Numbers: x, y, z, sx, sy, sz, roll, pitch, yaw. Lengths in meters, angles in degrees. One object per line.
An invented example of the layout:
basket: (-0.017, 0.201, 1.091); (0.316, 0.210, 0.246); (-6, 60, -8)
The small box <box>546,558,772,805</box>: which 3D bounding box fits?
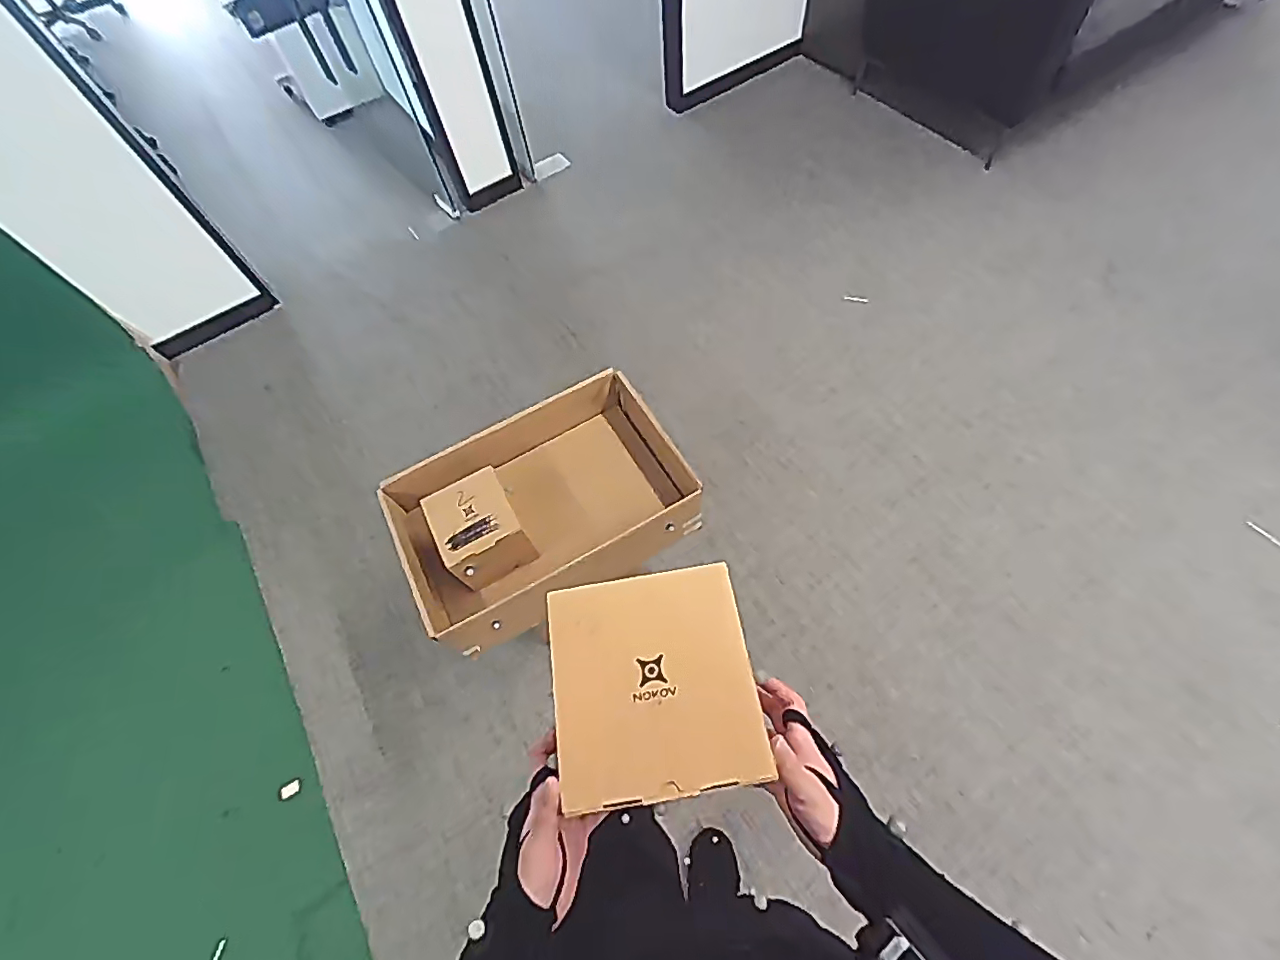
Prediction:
small box: (0.012, 0.195, 0.515); (0.168, 0.176, 0.179); (-10, 62, -1)
